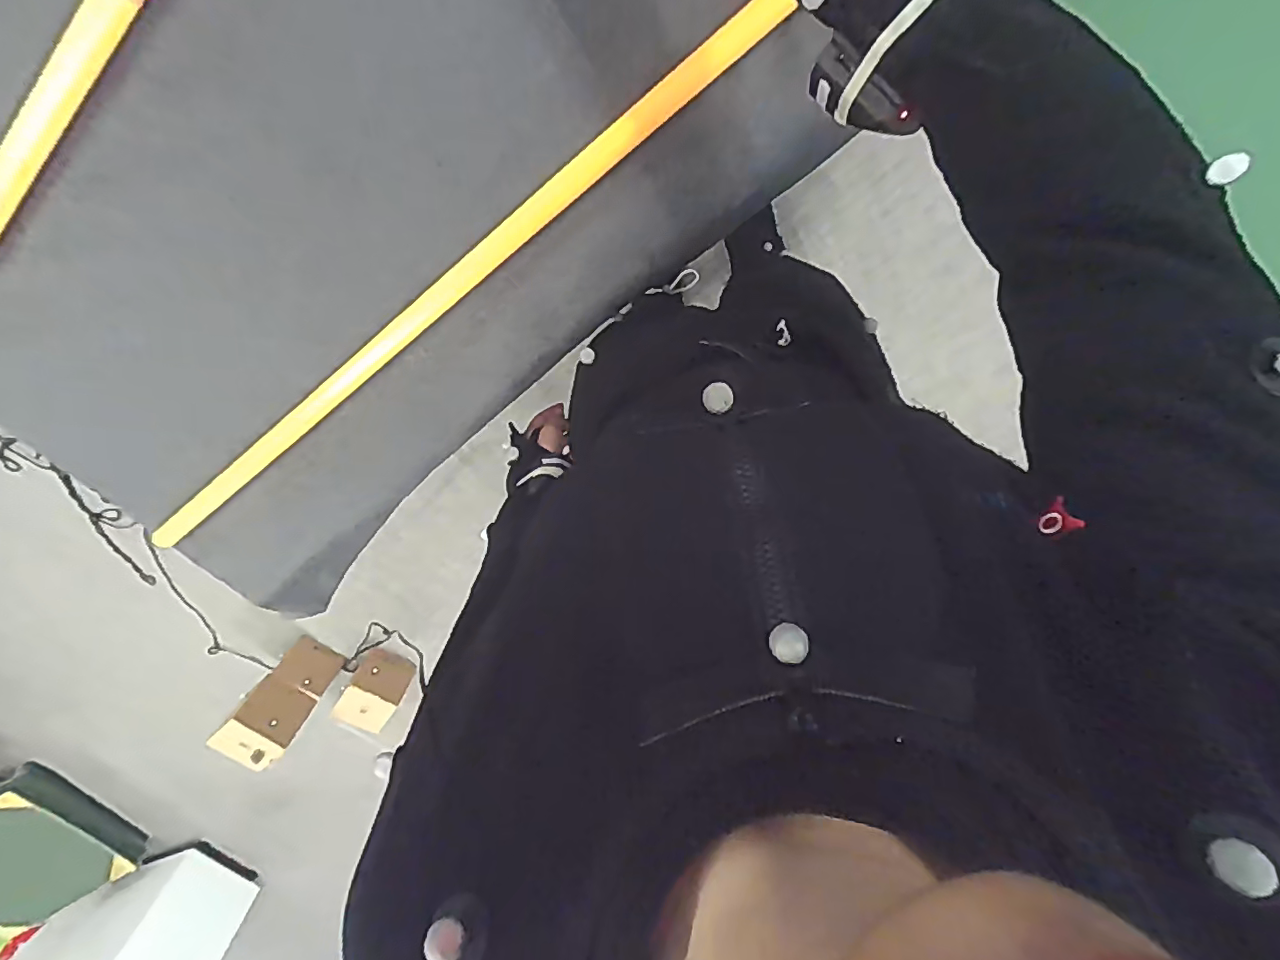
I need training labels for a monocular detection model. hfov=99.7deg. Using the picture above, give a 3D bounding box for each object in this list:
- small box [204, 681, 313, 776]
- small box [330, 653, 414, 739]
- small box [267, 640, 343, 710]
[{"bbox_3d":[-1.131,0.739,1.620,0.168,0.176,0.179,-39,109,20],"label":"small box"},{"bbox_3d":[-0.876,0.708,1.786,0.168,0.176,0.179,33,115,-15],"label":"small box"},{"bbox_3d":[-1.115,0.665,1.767,0.168,0.176,0.179,39,113,-17],"label":"small box"}]
